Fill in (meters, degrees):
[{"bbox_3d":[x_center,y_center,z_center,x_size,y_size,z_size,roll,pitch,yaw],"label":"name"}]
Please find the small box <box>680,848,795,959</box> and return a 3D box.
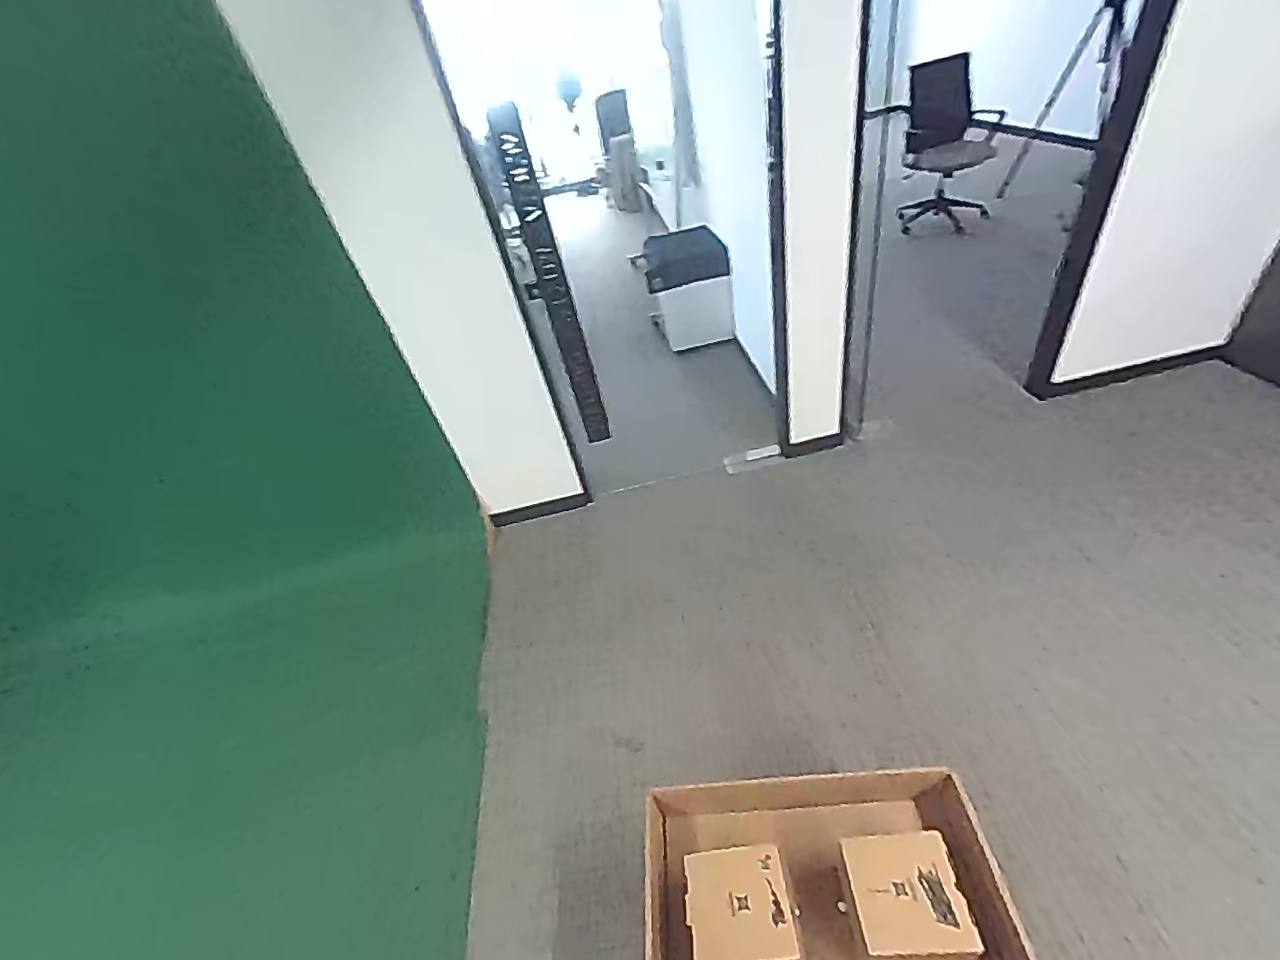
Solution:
[{"bbox_3d":[0.176,0.791,0.972,0.179,0.176,0.168,-10,39,6],"label":"small box"}]
